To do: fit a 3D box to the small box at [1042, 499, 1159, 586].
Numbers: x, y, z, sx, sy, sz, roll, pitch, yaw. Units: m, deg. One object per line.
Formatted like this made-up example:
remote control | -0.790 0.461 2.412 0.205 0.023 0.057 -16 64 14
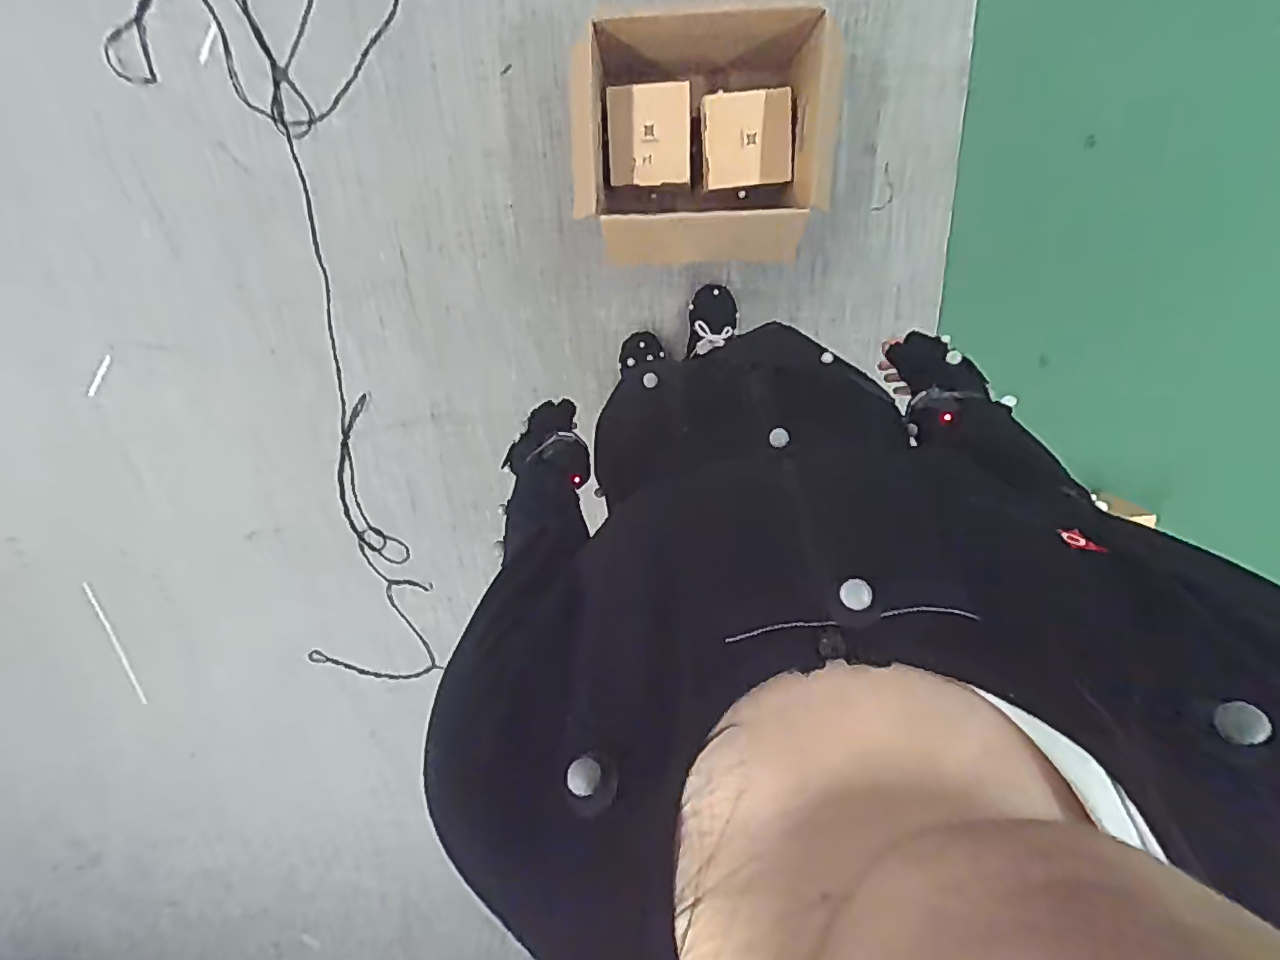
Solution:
small box | 1.241 0.167 1.475 0.168 0.176 0.179 -5 109 3
